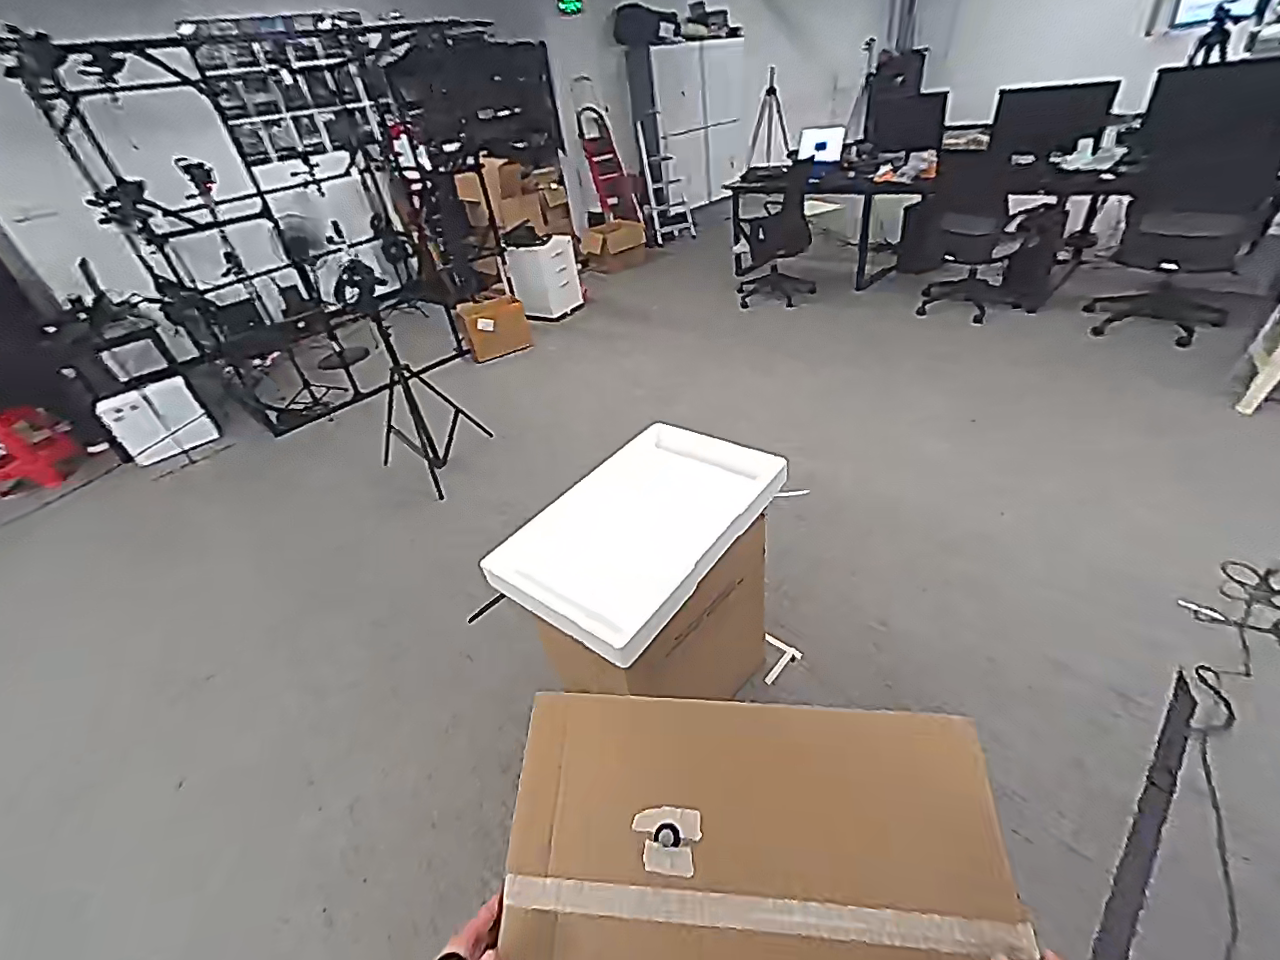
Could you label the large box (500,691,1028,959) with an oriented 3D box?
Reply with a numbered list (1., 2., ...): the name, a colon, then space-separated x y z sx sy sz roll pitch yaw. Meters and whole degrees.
1. large box: 0.109 0.411 0.556 0.408 0.320 0.320 -1 58 8
